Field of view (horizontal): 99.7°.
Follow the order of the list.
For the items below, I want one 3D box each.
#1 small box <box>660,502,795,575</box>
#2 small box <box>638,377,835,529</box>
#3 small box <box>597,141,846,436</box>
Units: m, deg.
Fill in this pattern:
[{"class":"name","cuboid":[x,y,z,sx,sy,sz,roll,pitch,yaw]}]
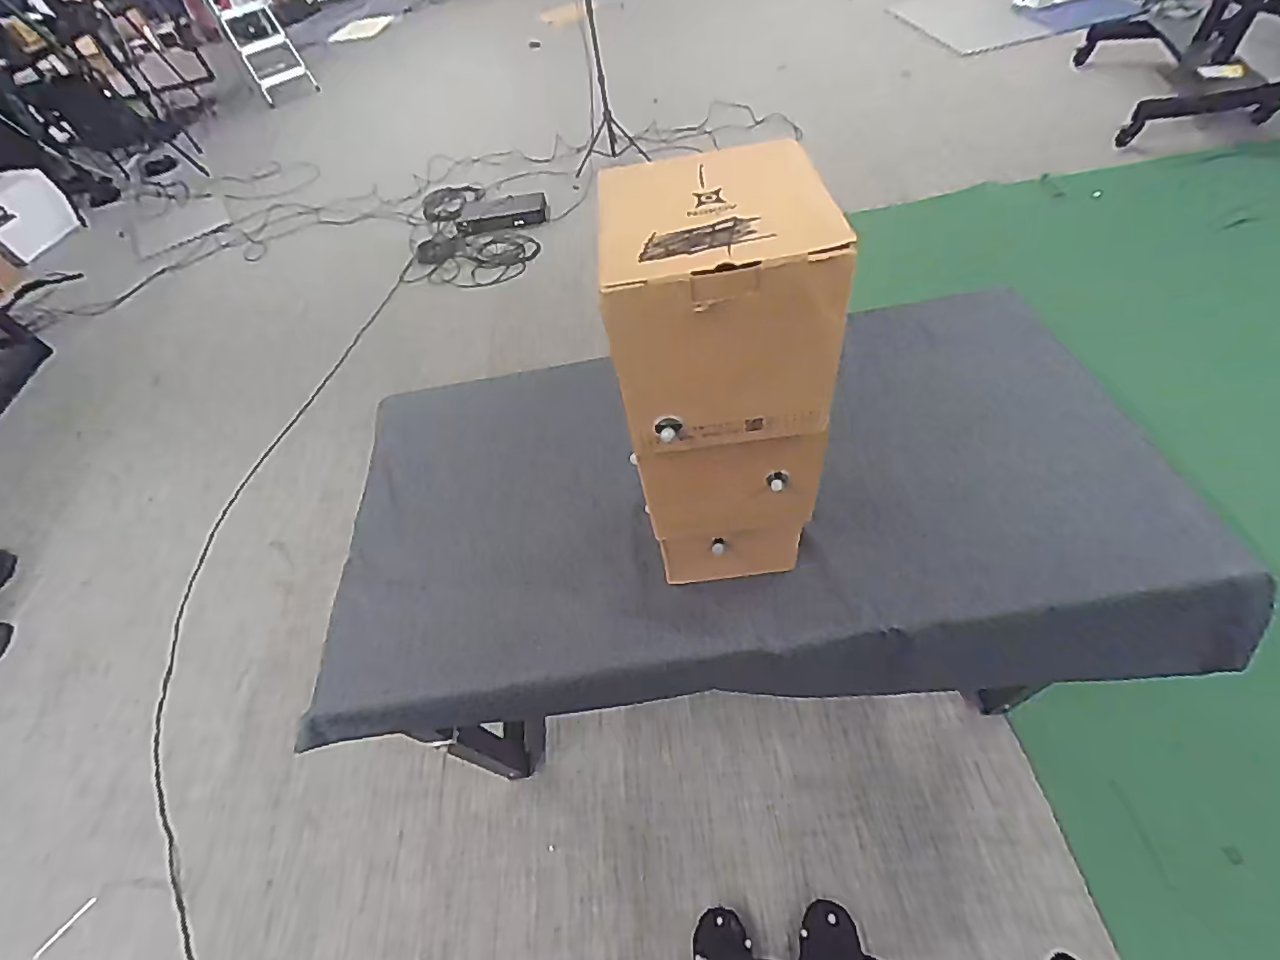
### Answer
[{"class":"small box","cuboid":[0.108,0.014,0.742,0.179,0.176,0.168,-10,52,2]},{"class":"small box","cuboid":[0.085,-0.067,0.580,0.179,0.176,0.168,-11,53,2]},{"class":"small box","cuboid":[0.060,-0.151,0.461,0.168,0.176,0.179,-7,52,4]}]
